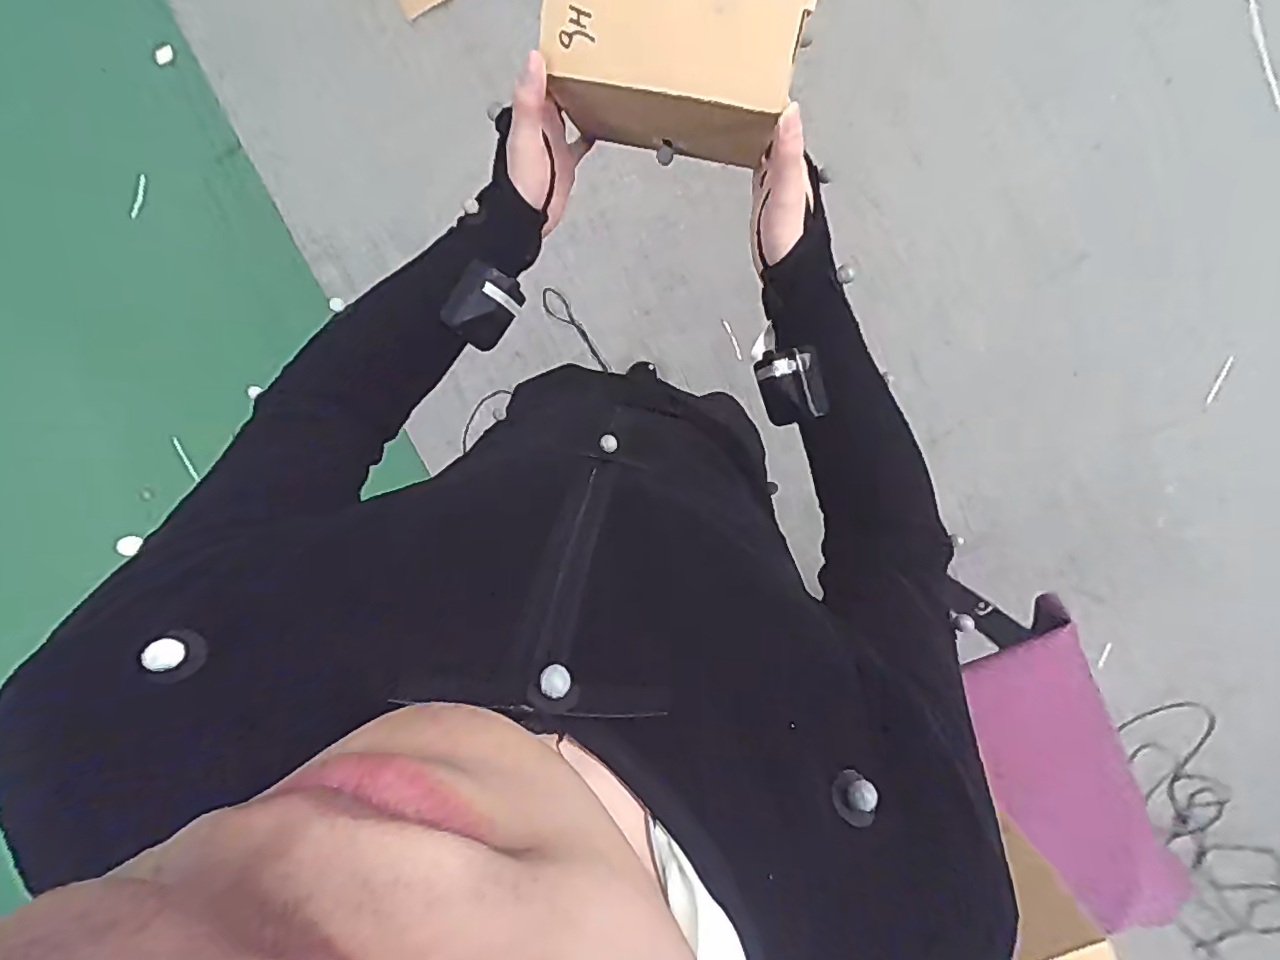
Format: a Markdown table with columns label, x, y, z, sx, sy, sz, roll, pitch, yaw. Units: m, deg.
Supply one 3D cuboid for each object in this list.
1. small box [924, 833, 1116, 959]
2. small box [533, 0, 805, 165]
| label | x | y | z | sx | sy | sz | roll | pitch | yaw |
| --- | --- | --- | --- | --- | --- | --- | --- | --- | --- |
| small box | 0.537 | 0.656 | 0.767 | 0.179 | 0.176 | 0.168 | -26 | 99 | 5 |
| small box | 0.029 | -0.365 | 0.423 | 0.179 | 0.176 | 0.168 | 10 | 108 | 1 |
